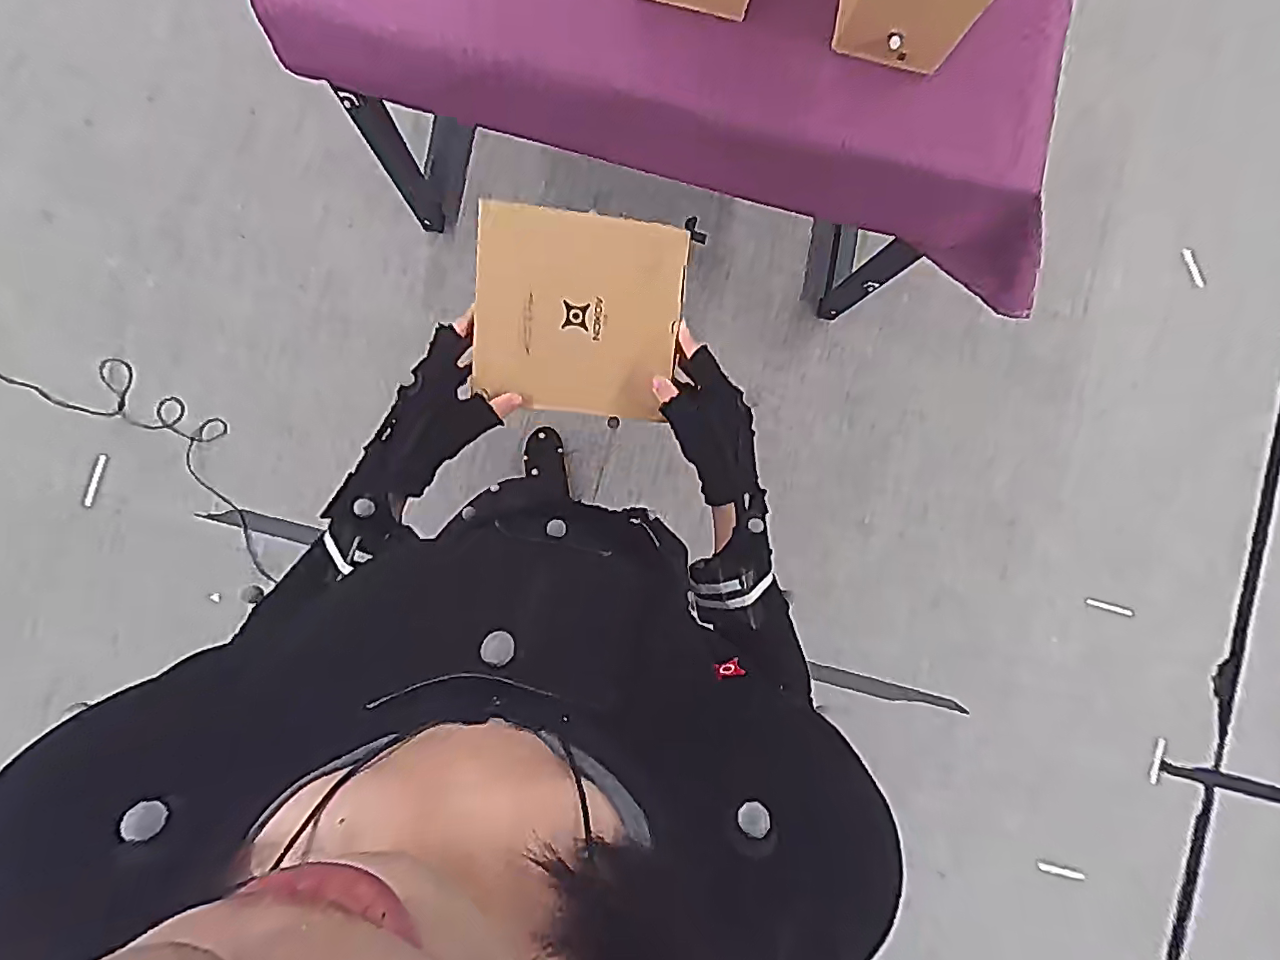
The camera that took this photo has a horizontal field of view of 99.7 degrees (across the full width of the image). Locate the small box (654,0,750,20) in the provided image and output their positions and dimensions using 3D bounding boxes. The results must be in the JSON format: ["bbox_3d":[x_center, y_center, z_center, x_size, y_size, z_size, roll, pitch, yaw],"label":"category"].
[{"bbox_3d":[0.094,-0.786,0.739,0.179,0.176,0.168,10,88,-4],"label":"small box"}]

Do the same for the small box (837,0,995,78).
[{"bbox_3d":[0.398,-0.728,0.762,0.168,0.176,0.179,10,88,-4],"label":"small box"}]

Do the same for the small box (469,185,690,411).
[{"bbox_3d":[-0.061,-0.160,0.528,0.179,0.176,0.168,4,98,-8],"label":"small box"}]
